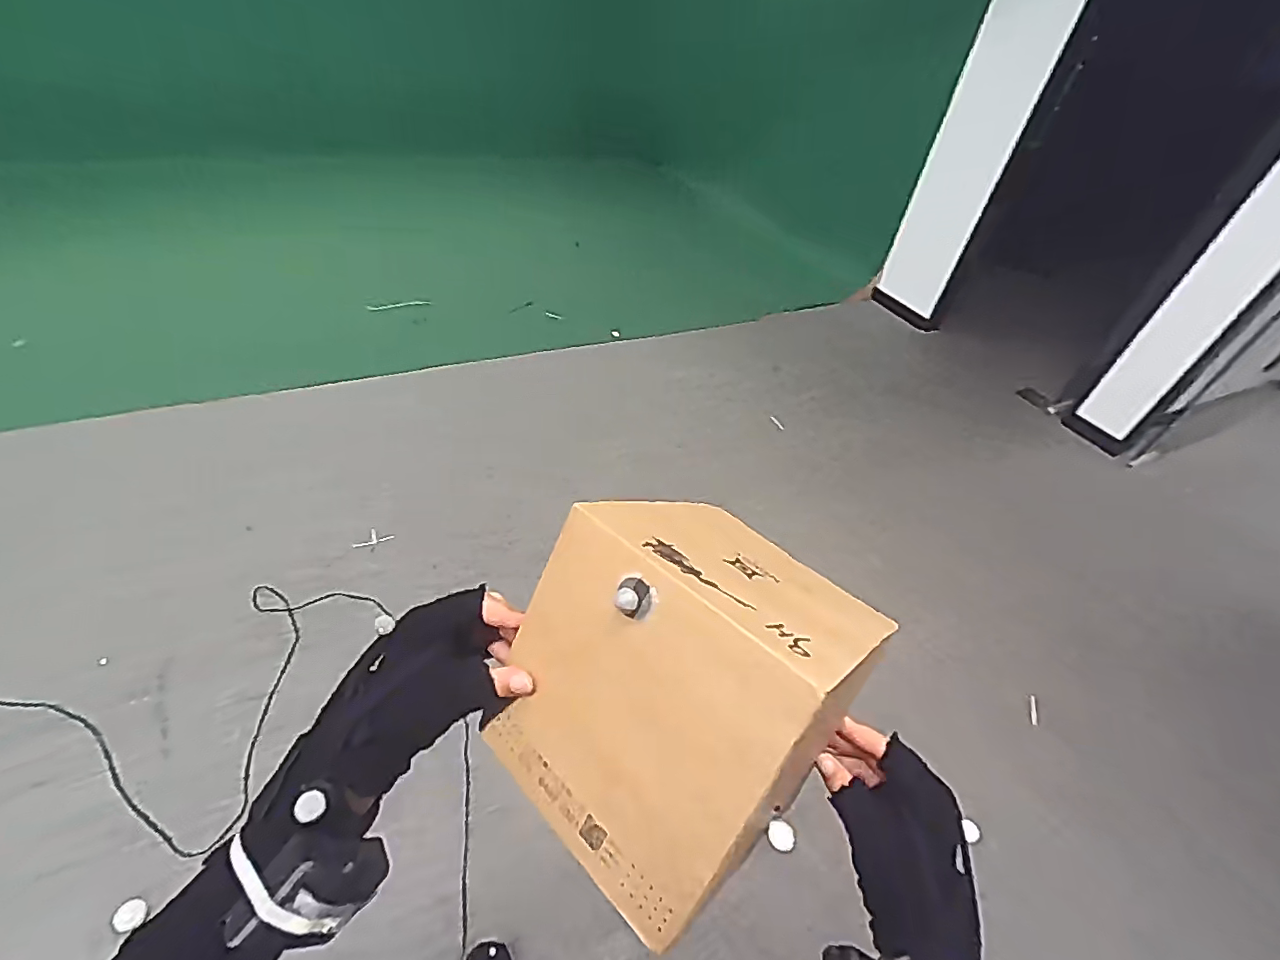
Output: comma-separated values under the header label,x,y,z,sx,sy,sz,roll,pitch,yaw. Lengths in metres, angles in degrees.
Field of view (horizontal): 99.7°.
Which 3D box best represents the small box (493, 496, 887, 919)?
label,x,y,z,sx,sy,sz,roll,pitch,yaw
small box,0.034,0.127,0.367,0.168,0.176,0.179,33,15,32
